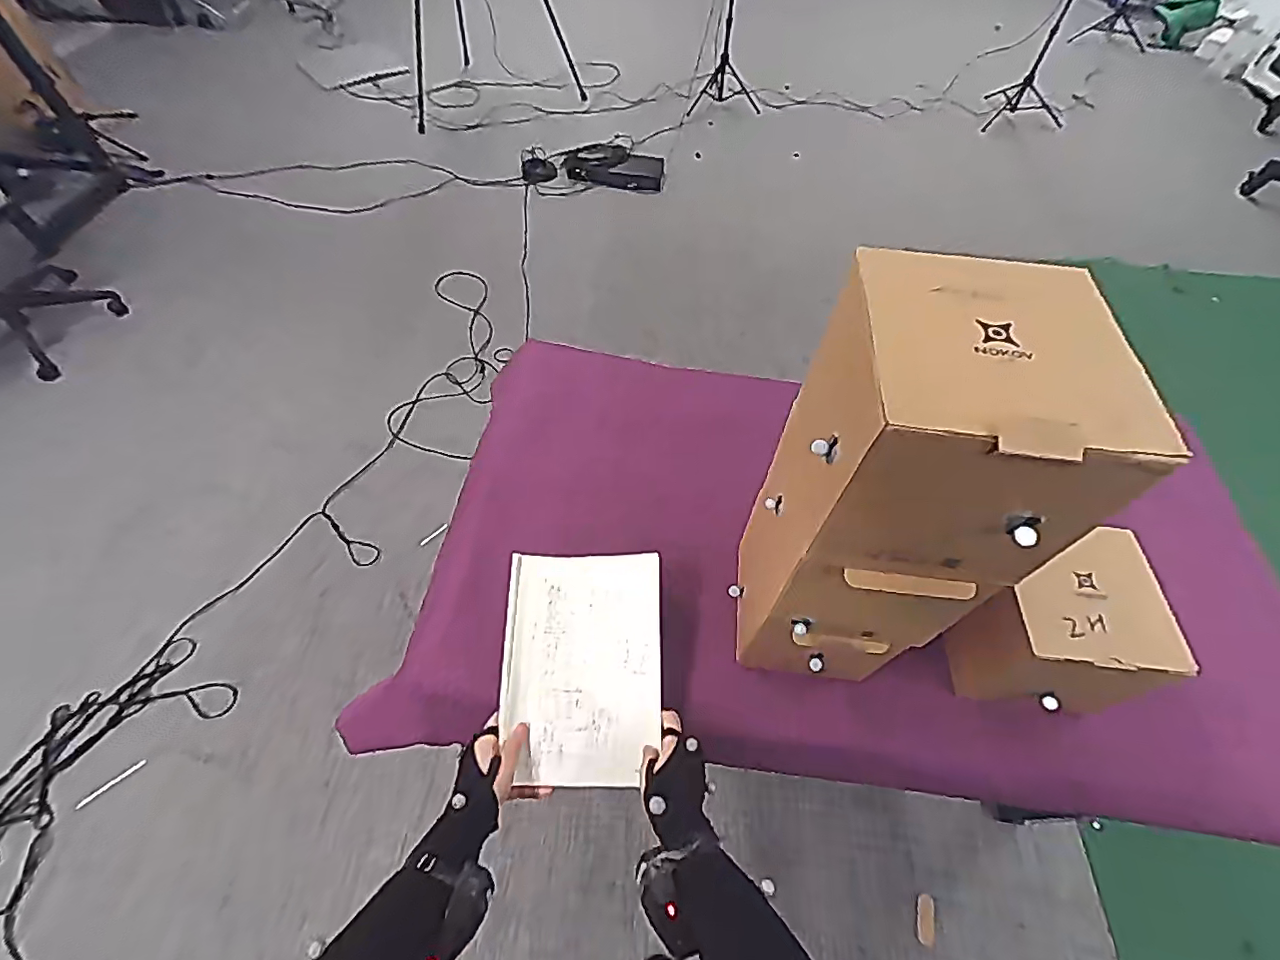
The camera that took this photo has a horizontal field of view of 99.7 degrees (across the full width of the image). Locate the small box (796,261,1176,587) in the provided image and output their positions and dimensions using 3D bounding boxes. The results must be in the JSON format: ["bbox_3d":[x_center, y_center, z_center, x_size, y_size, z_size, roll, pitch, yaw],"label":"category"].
[{"bbox_3d":[0.223,-0.036,0.412,0.168,0.176,0.179,8,55,3],"label":"small box"}]

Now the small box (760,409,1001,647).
[{"bbox_3d":[0.220,0.054,0.548,0.168,0.176,0.179,6,54,3],"label":"small box"}]

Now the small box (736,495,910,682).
[{"bbox_3d":[0.218,0.143,0.687,0.168,0.176,0.179,7,56,3],"label":"small box"}]
